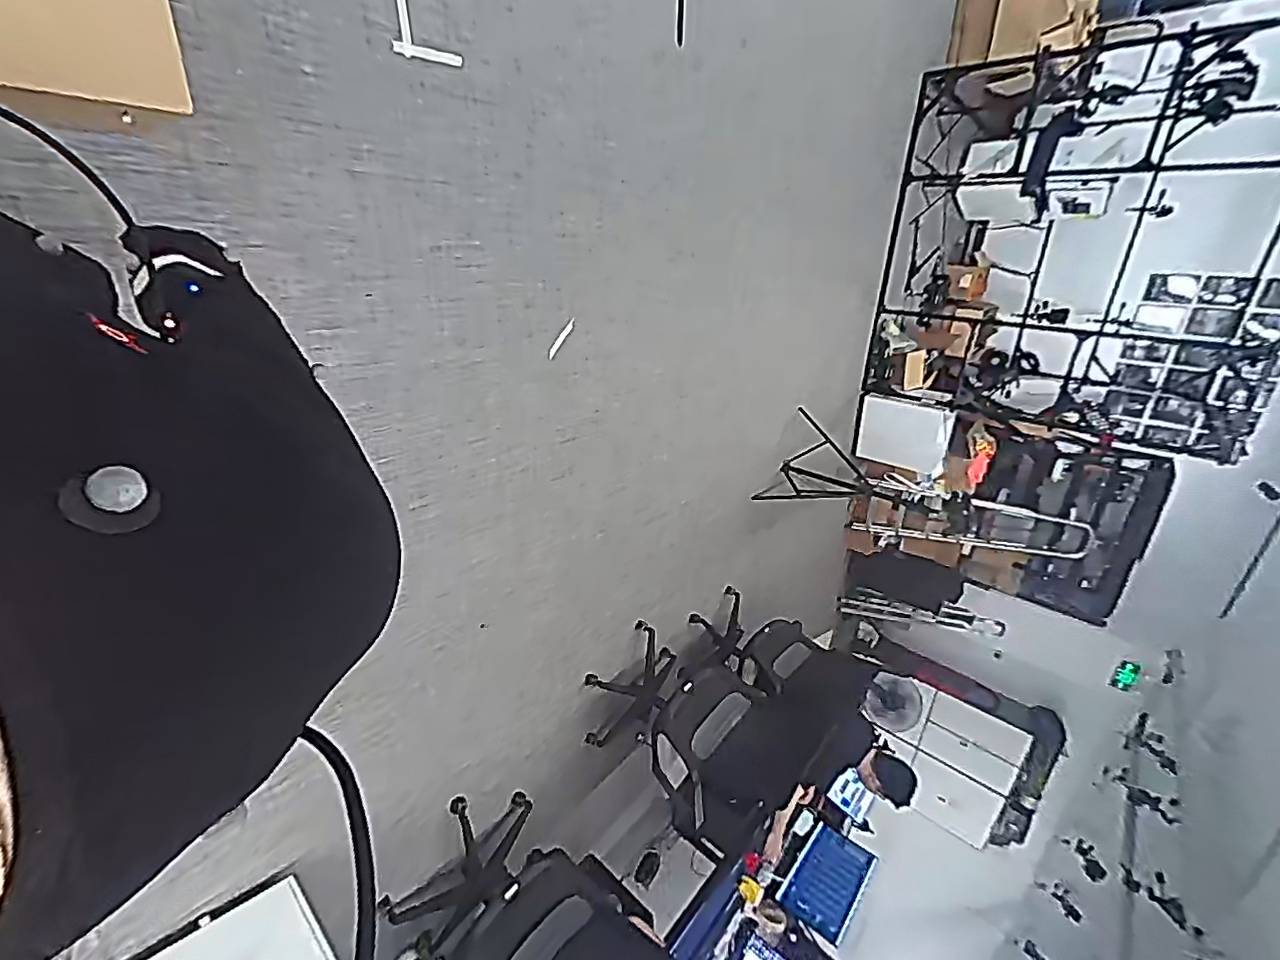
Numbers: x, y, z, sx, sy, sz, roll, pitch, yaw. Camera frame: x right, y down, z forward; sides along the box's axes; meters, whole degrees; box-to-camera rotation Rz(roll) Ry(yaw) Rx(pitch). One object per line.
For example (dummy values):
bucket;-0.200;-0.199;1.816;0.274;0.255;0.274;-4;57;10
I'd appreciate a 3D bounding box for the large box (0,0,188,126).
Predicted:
large box;-0.893;-0.658;0.673;0.408;0.320;0.320;-24;125;-45
